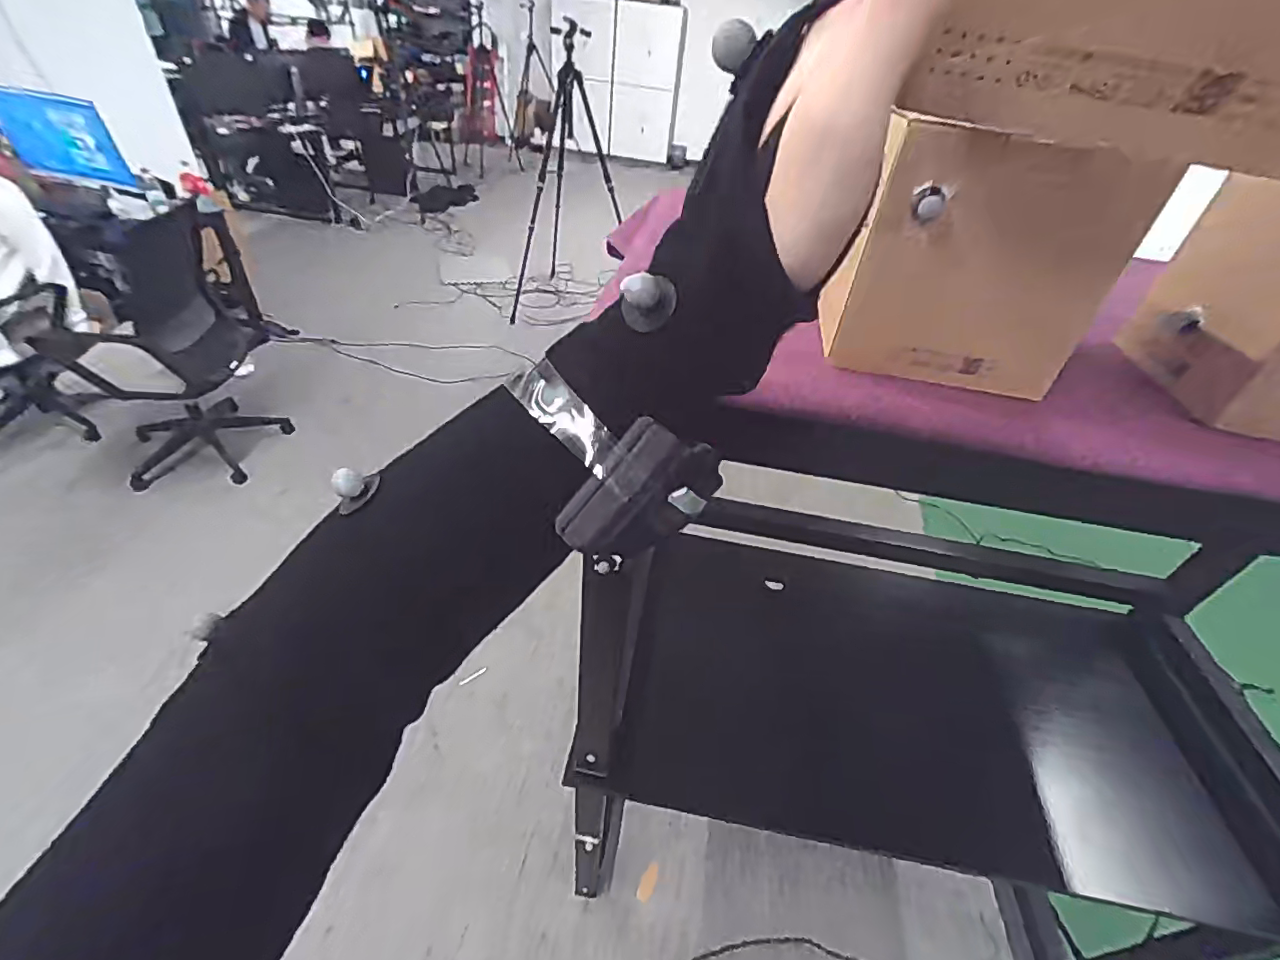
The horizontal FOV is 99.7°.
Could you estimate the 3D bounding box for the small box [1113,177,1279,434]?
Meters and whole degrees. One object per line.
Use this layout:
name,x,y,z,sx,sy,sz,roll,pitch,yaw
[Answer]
small box,0.531,-0.136,0.412,0.179,0.176,0.168,12,40,9
